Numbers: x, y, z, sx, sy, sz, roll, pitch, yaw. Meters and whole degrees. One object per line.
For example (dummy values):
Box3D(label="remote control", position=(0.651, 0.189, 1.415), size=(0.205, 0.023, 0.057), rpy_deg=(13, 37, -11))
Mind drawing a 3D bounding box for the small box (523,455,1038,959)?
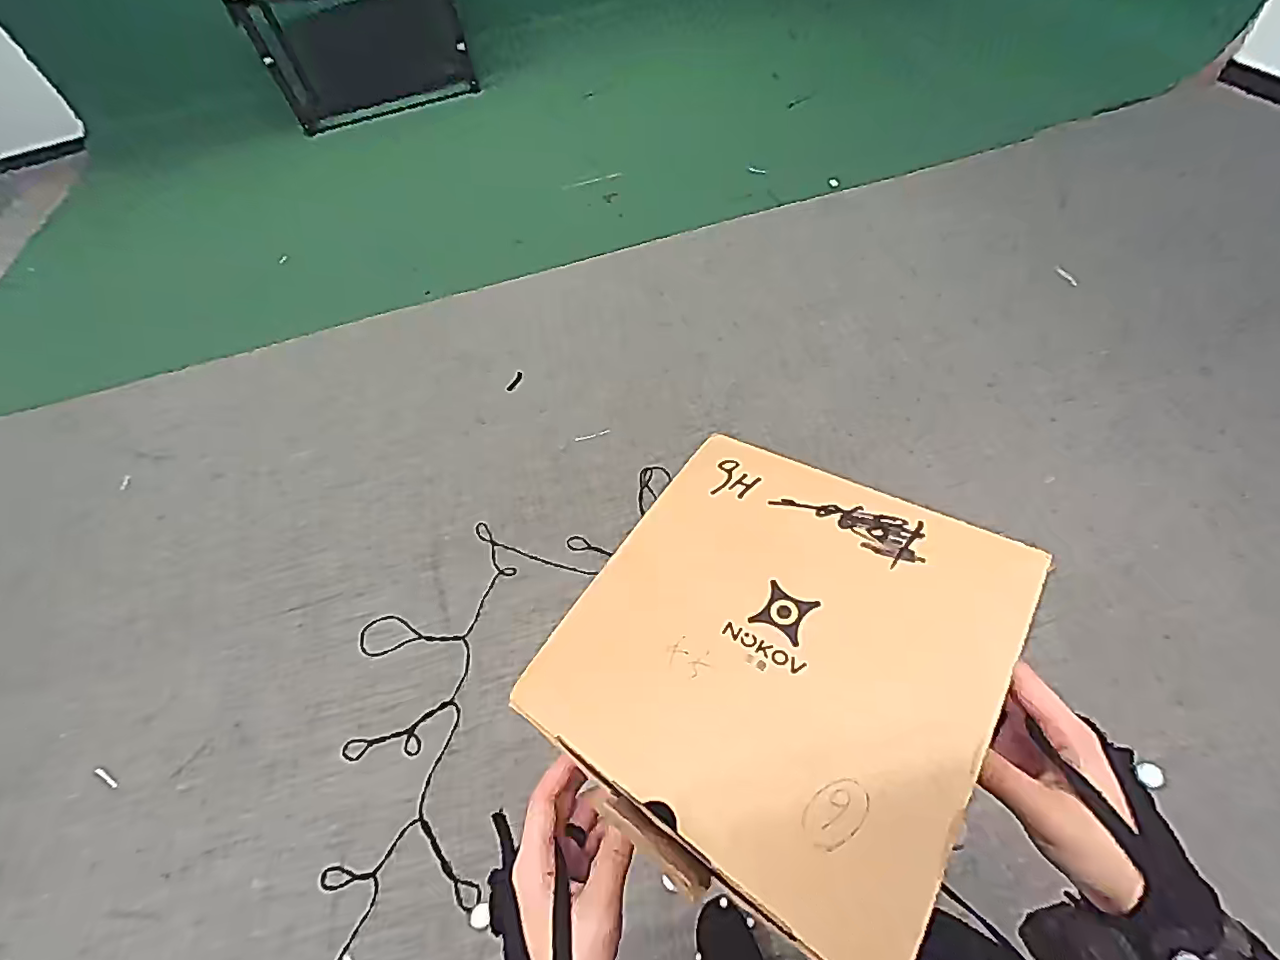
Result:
Box3D(label="small box", position=(0.075, 0.123, 0.297), size=(0.168, 0.176, 0.179), rpy_deg=(24, 61, 30))
